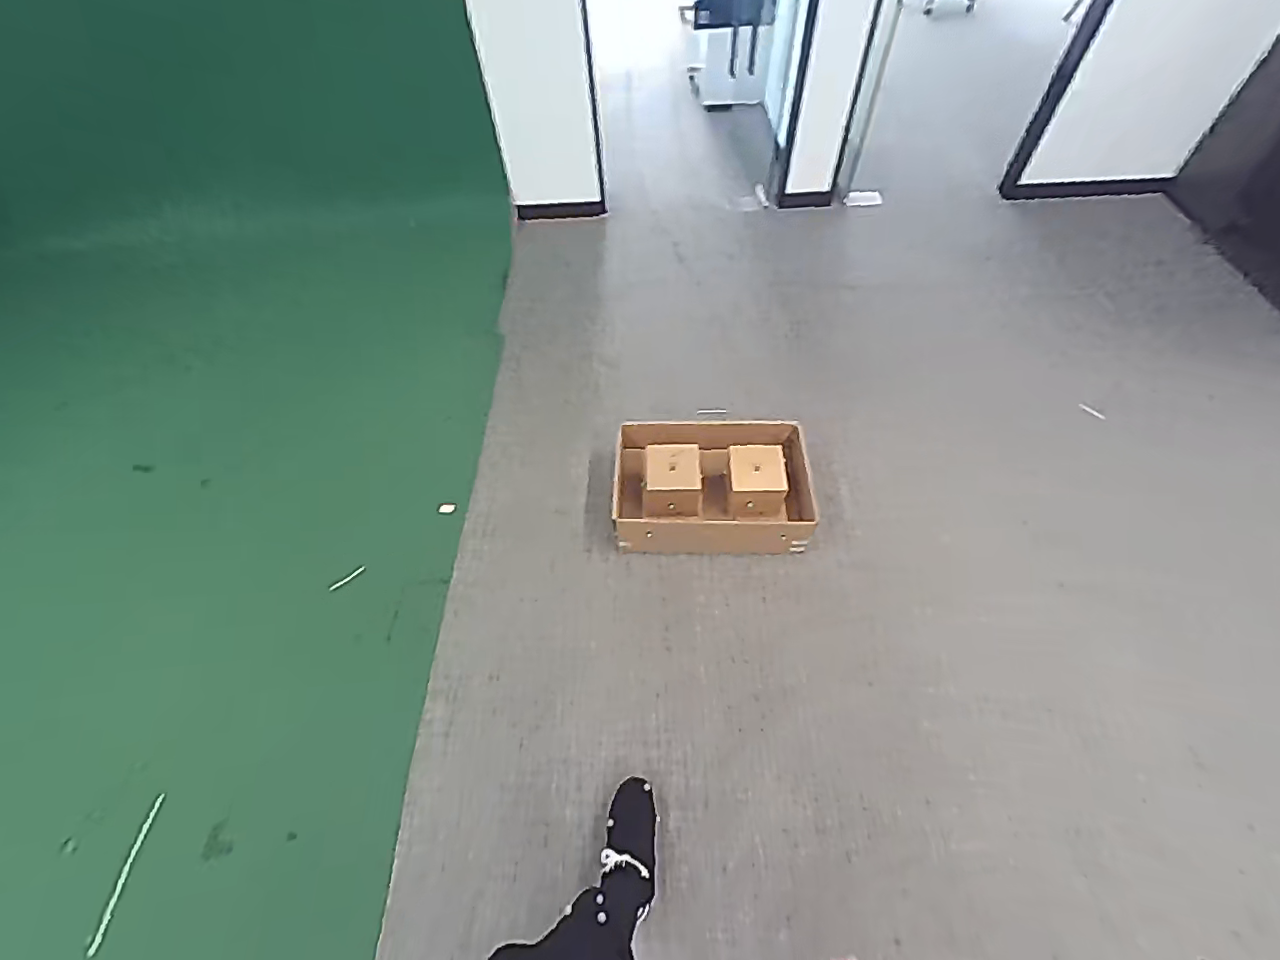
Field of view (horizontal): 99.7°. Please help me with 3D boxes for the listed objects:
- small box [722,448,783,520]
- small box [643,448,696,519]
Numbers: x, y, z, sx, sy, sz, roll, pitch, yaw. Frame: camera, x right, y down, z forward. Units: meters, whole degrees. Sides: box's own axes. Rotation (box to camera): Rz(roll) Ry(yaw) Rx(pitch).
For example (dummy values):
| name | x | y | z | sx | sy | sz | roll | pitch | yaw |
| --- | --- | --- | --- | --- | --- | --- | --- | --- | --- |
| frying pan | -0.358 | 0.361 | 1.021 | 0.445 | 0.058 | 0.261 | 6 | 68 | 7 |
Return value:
| name | x | y | z | sx | sy | sz | roll | pitch | yaw |
| --- | --- | --- | --- | --- | --- | --- | --- | --- | --- |
| small box | 0.356 | 0.017 | 1.739 | 0.168 | 0.176 | 0.179 | 0 | 55 | 2 |
| small box | 0.094 | 0.013 | 1.748 | 0.168 | 0.176 | 0.179 | 0 | 55 | 0 |
